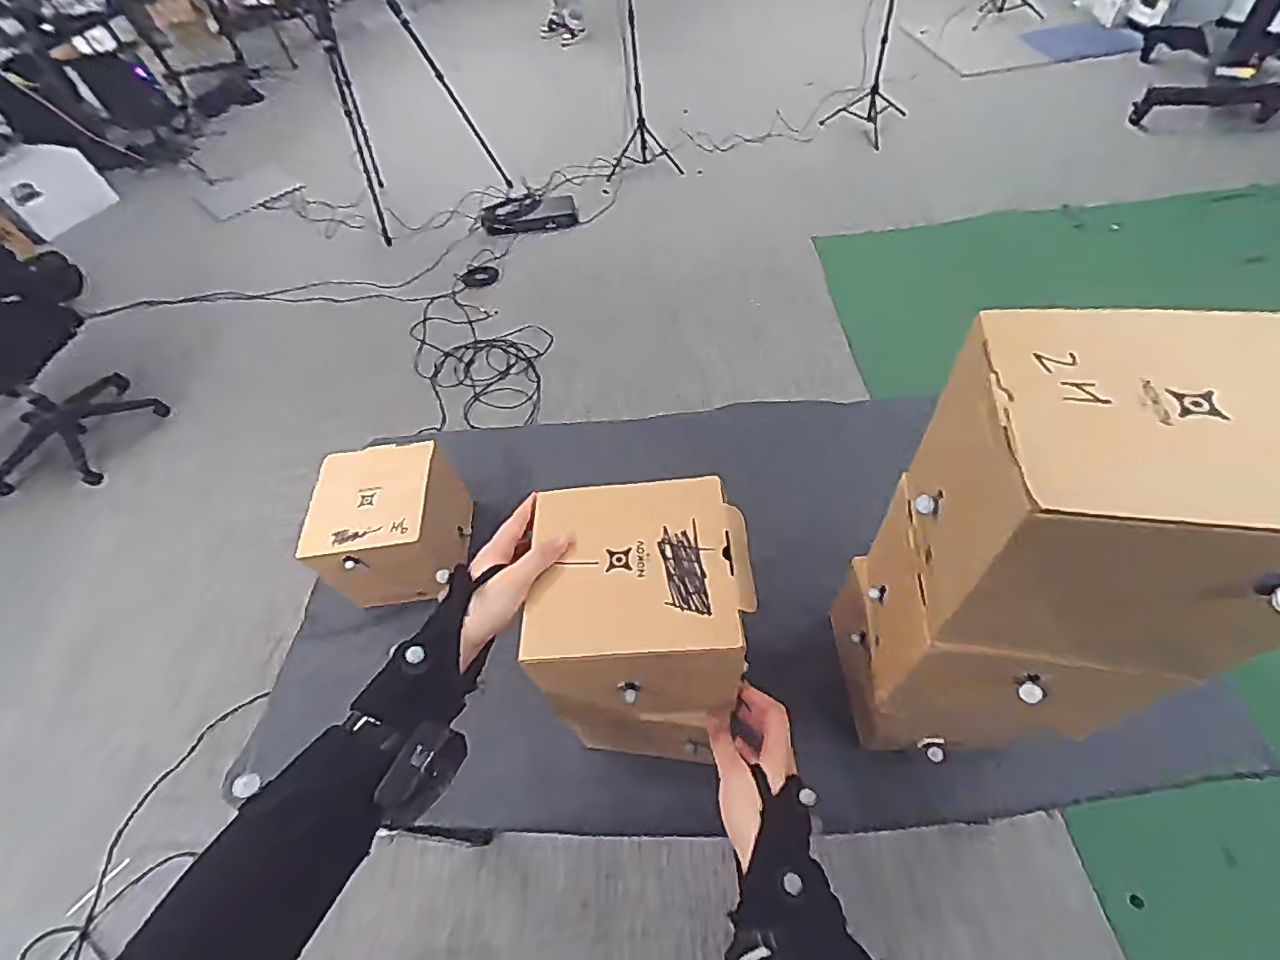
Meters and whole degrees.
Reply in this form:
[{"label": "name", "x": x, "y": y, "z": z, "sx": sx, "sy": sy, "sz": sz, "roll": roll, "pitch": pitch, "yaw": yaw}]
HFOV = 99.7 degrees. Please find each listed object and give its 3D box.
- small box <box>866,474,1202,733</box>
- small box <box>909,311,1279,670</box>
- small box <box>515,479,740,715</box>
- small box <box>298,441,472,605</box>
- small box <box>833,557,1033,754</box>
[{"label": "small box", "x": 0.315, "y": 0.114, "z": 0.484, "sx": 0.179, "sy": 0.176, "sz": 0.168, "roll": 3, "pitch": 53, "yaw": 12}, {"label": "small box", "x": 0.298, "y": 0.011, "z": 0.356, "sx": 0.179, "sy": 0.176, "sz": 0.168, "roll": 5, "pitch": 53, "yaw": 13}, {"label": "small box", "x": -0.004, "y": 0.118, "z": 0.521, "sx": 0.179, "sy": 0.176, "sz": 0.168, "roll": -5, "pitch": 52, "yaw": 5}, {"label": "small box", "x": -0.365, "y": 0.068, "z": 0.815, "sx": 0.168, "sy": 0.176, "sz": 0.179, "roll": -8, "pitch": 54, "yaw": 2}, {"label": "small box", "x": 0.333, "y": 0.201, "z": 0.621, "sx": 0.168, "sy": 0.176, "sz": 0.179, "roll": -5, "pitch": 53, "yaw": 5}]
